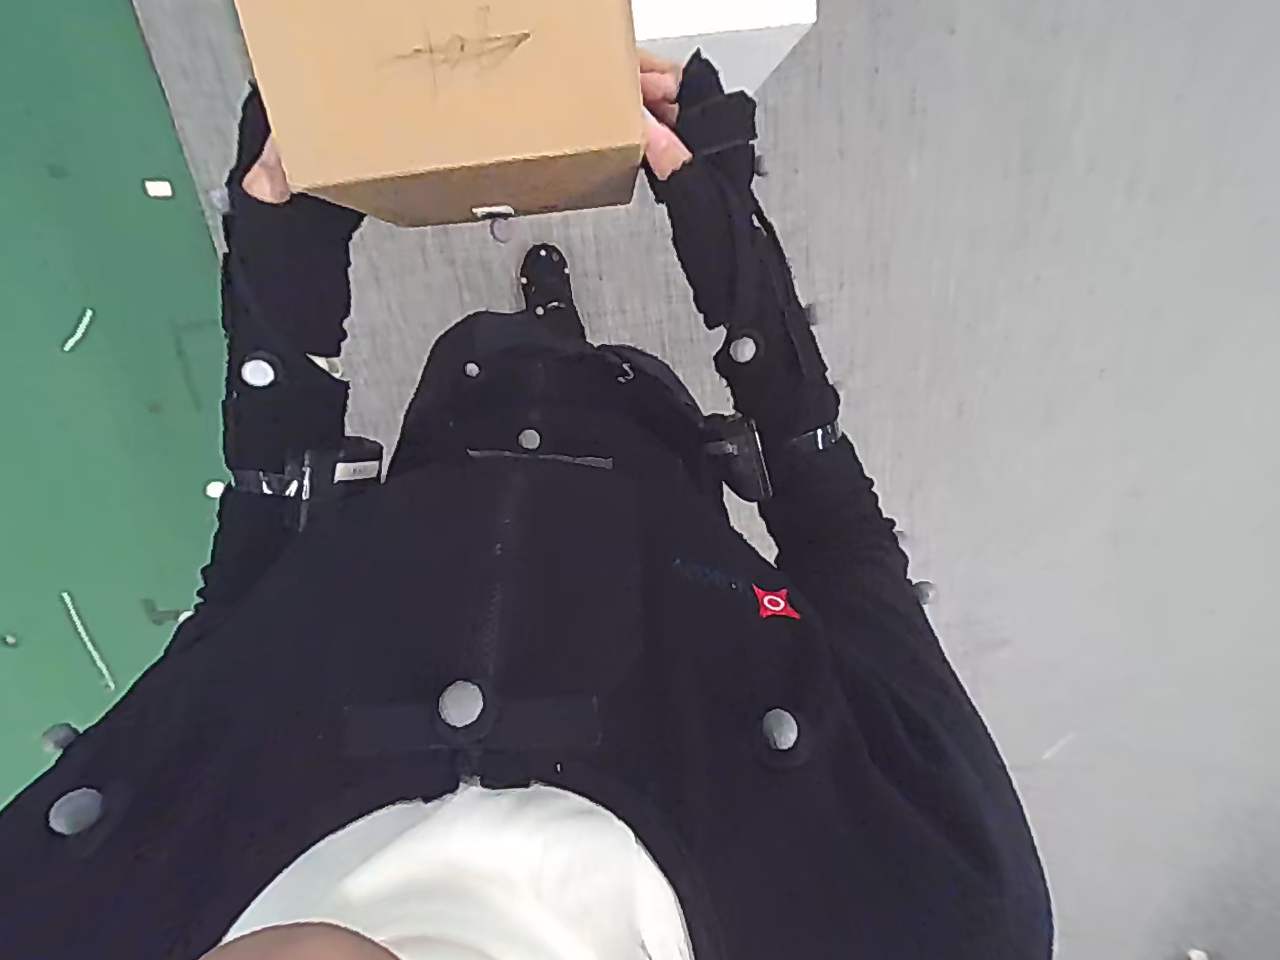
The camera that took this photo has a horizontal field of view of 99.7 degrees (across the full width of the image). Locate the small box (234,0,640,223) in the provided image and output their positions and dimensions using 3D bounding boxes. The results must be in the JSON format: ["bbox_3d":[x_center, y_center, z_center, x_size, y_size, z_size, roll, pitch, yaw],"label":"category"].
[{"bbox_3d":[-0.094,-0.254,0.295,0.168,0.176,0.179,-8,110,0],"label":"small box"}]
